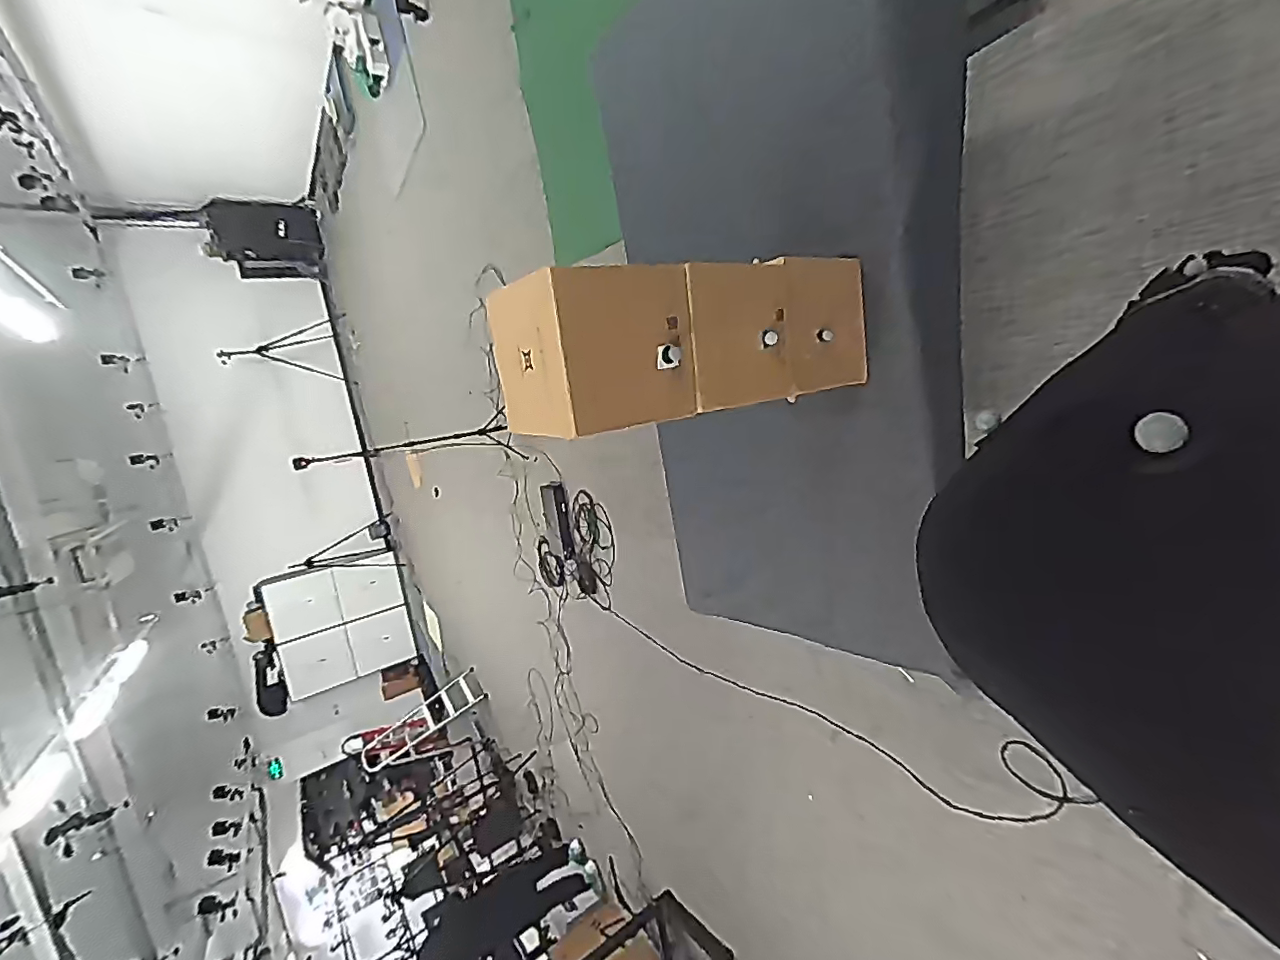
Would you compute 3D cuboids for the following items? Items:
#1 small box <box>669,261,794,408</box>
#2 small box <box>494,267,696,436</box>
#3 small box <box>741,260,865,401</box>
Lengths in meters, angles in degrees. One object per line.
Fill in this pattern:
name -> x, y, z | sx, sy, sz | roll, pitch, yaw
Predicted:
small box -> 0.081, -0.186, 0.728 | 0.179, 0.176, 0.168 | 7, 108, 57
small box -> -0.053, -0.151, 0.643 | 0.179, 0.176, 0.168 | 10, 112, 54
small box -> 0.218, -0.221, 0.812 | 0.168, 0.176, 0.179 | 6, 108, 56
